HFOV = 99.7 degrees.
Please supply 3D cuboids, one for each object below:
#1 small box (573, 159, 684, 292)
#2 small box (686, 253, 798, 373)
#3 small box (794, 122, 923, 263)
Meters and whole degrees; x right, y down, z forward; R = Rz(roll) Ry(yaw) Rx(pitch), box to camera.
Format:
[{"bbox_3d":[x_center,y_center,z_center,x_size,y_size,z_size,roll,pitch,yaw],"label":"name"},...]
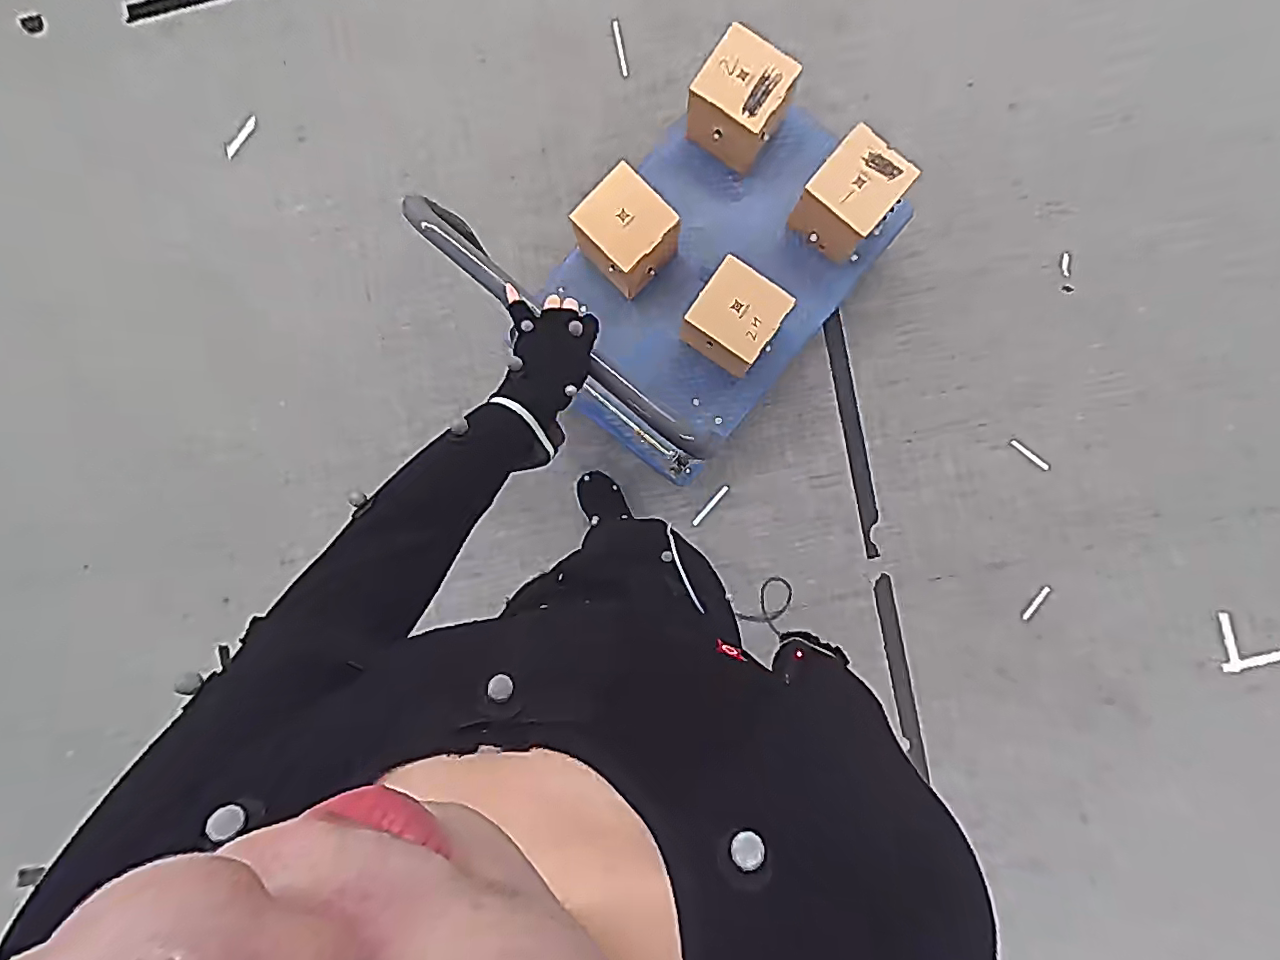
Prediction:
[{"bbox_3d":[-0.024,-0.555,1.207,0.179,0.176,0.168,45,92,-1],"label":"small box"},{"bbox_3d":[0.215,-0.359,1.200,0.179,0.176,0.168,36,92,1],"label":"small box"},{"bbox_3d":[0.466,-0.619,1.186,0.168,0.176,0.179,41,93,1],"label":"small box"}]
